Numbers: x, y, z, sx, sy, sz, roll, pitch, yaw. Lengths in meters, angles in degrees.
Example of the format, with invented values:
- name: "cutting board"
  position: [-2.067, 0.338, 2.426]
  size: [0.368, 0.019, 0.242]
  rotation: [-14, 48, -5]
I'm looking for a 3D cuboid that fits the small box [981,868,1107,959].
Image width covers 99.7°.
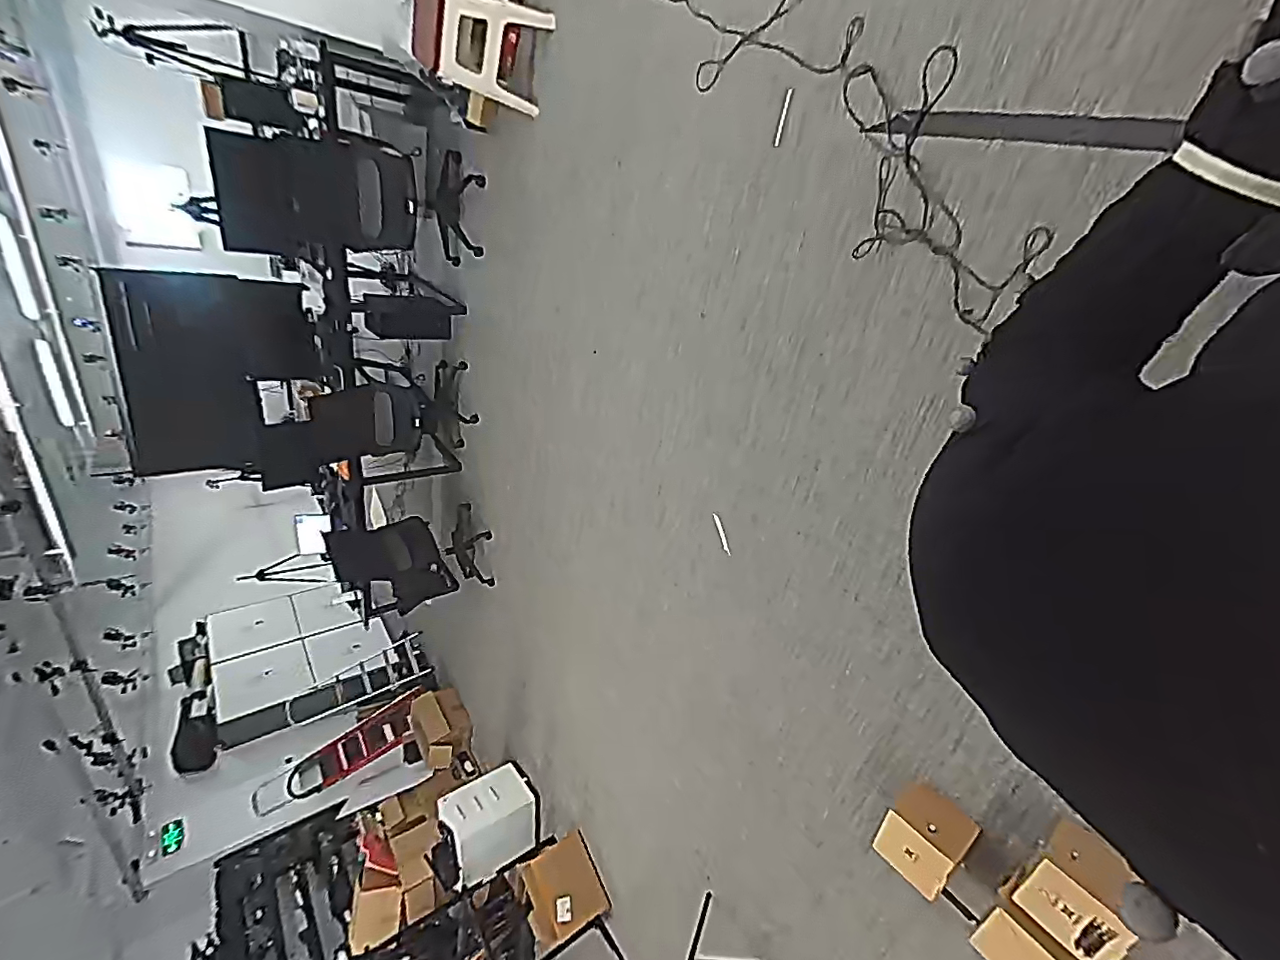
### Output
- name: "small box"
  position: [0.949, 1.092, 1.284]
  size: [0.179, 0.176, 0.168]
  rotation: [38, 128, 41]
